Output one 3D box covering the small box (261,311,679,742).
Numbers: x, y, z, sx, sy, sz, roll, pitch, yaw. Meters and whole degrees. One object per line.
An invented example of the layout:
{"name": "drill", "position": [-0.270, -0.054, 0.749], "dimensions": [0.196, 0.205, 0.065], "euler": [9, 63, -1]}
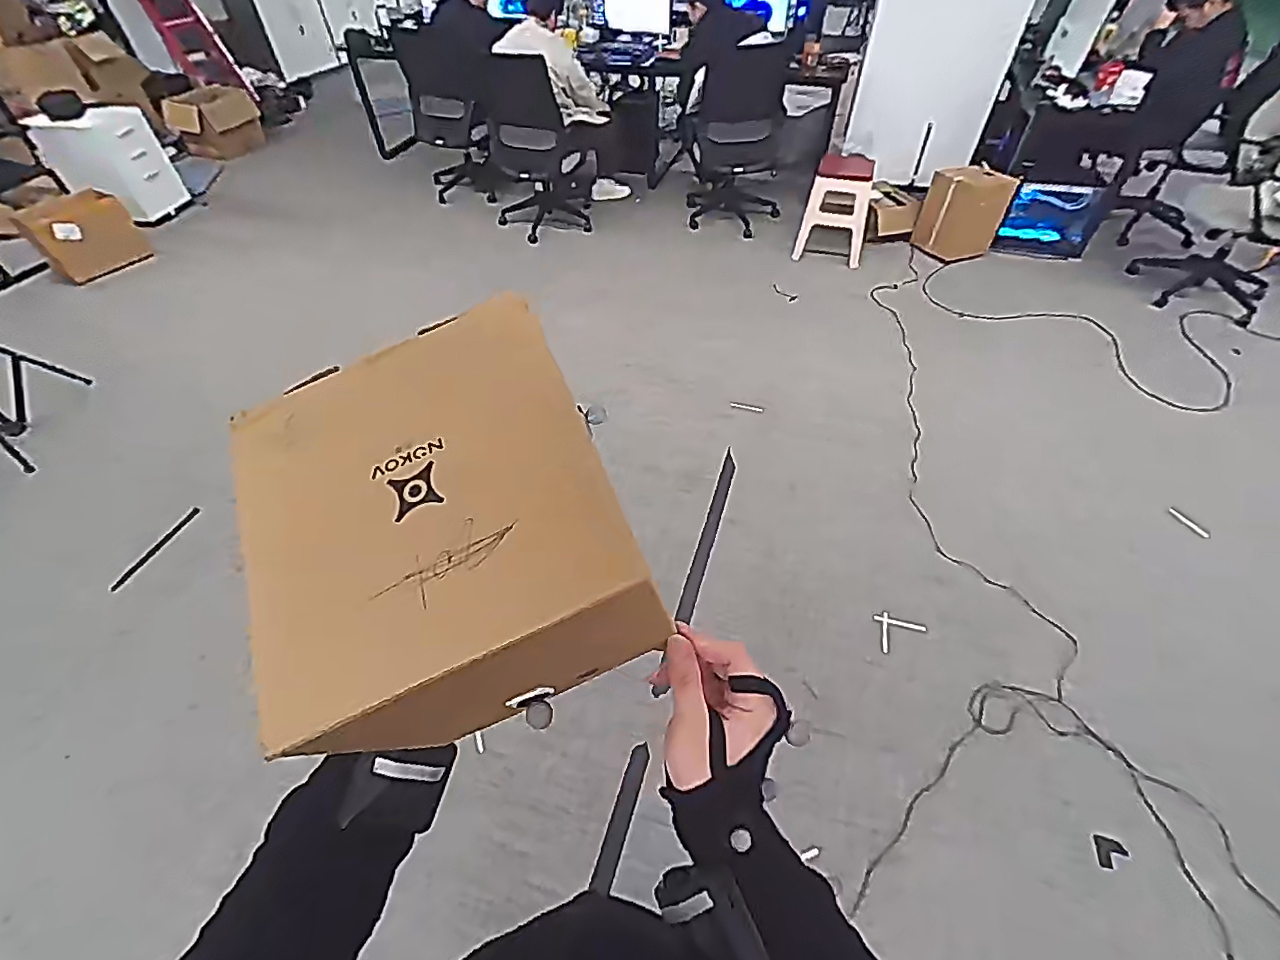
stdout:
{"name": "small box", "position": [-0.087, 0.040, 0.332], "dimensions": [0.168, 0.176, 0.179], "euler": [-25, 65, -3]}
